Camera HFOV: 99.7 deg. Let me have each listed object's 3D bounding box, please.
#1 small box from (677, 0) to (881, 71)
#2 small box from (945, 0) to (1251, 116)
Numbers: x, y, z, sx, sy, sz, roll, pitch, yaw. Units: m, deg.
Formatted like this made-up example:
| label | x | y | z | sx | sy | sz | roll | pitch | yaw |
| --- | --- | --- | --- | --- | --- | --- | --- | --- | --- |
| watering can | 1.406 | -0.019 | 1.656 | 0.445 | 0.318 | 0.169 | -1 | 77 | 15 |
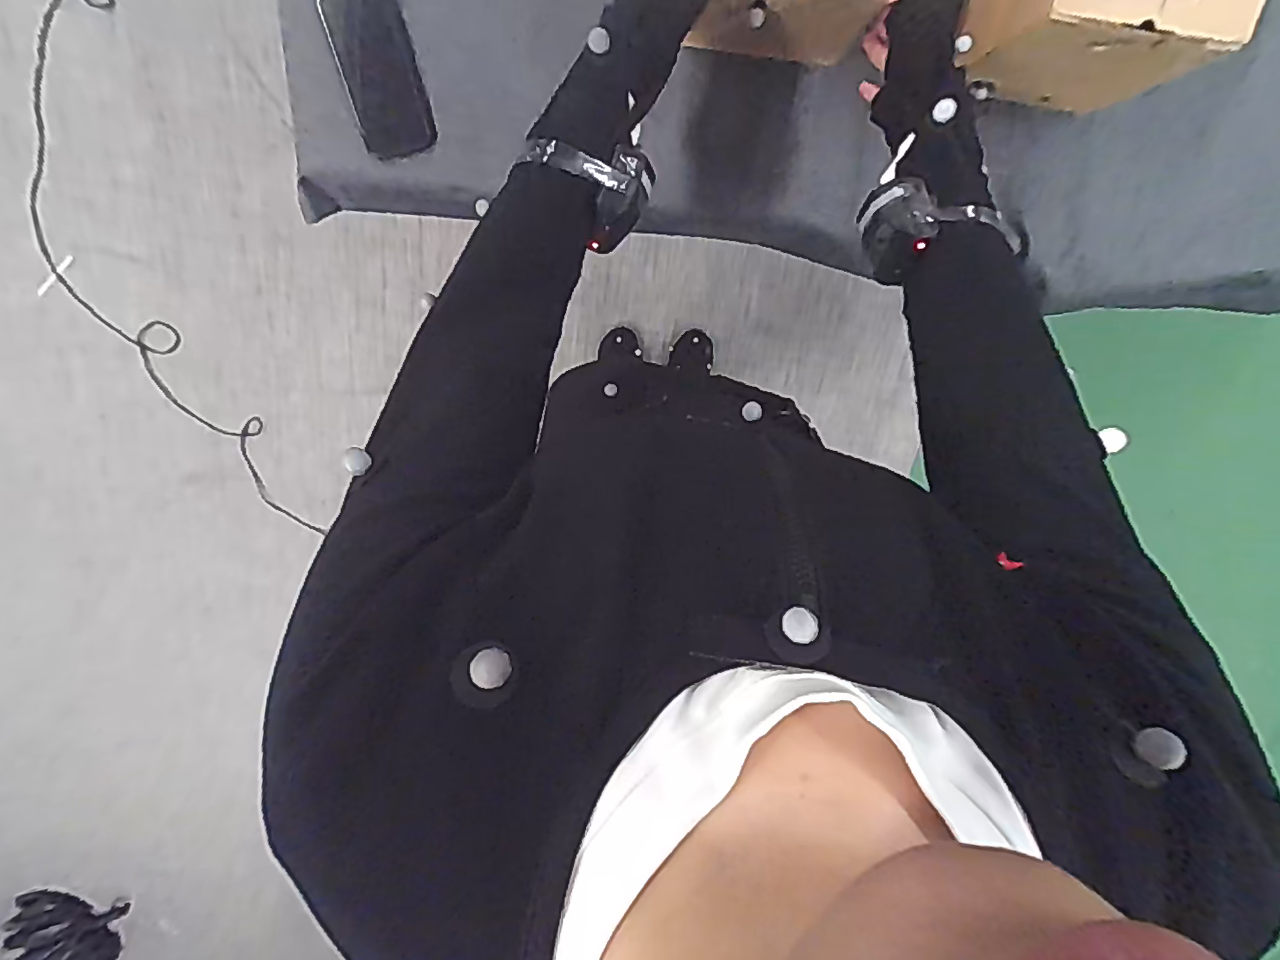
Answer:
| label | x | y | z | sx | sy | sz | roll | pitch | yaw |
| --- | --- | --- | --- | --- | --- | --- | --- | --- | --- |
| small box | 0.129 | -0.494 | 0.477 | 0.179 | 0.176 | 0.168 | 6 | 108 | -2 |
| small box | 0.413 | -0.461 | 0.490 | 0.168 | 0.176 | 0.179 | 7 | 108 | -3 |
